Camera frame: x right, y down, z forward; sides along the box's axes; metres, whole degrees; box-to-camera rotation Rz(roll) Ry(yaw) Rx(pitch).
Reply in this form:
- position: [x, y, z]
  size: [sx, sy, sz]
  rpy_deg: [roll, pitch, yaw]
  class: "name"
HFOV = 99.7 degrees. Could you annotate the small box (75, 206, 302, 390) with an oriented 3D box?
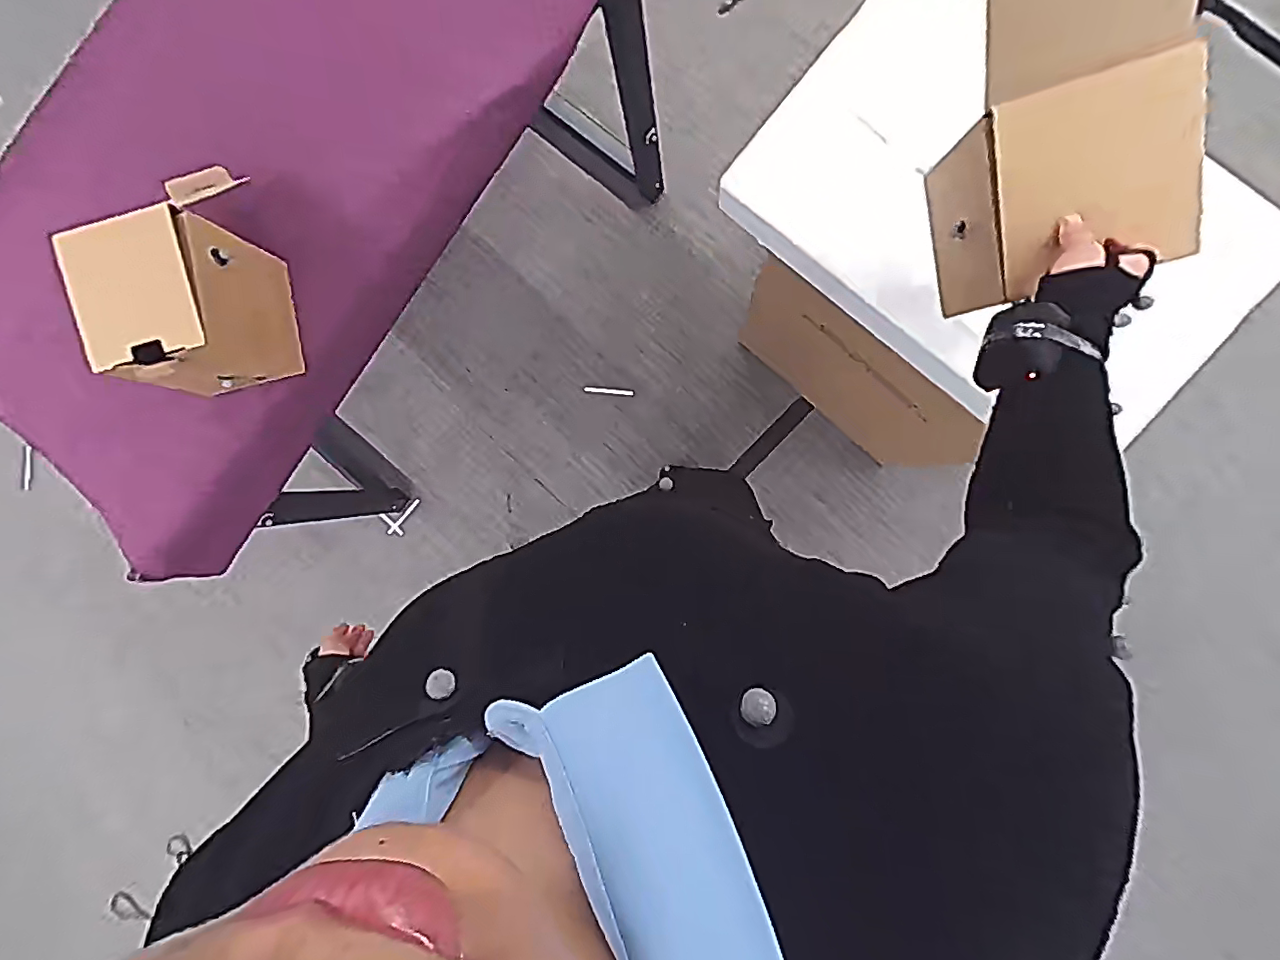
- position: [-0.610, -0.237, 0.750]
  size: [0.168, 0.176, 0.179]
  rpy_deg: [-11, 88, 7]
  class: "small box"
